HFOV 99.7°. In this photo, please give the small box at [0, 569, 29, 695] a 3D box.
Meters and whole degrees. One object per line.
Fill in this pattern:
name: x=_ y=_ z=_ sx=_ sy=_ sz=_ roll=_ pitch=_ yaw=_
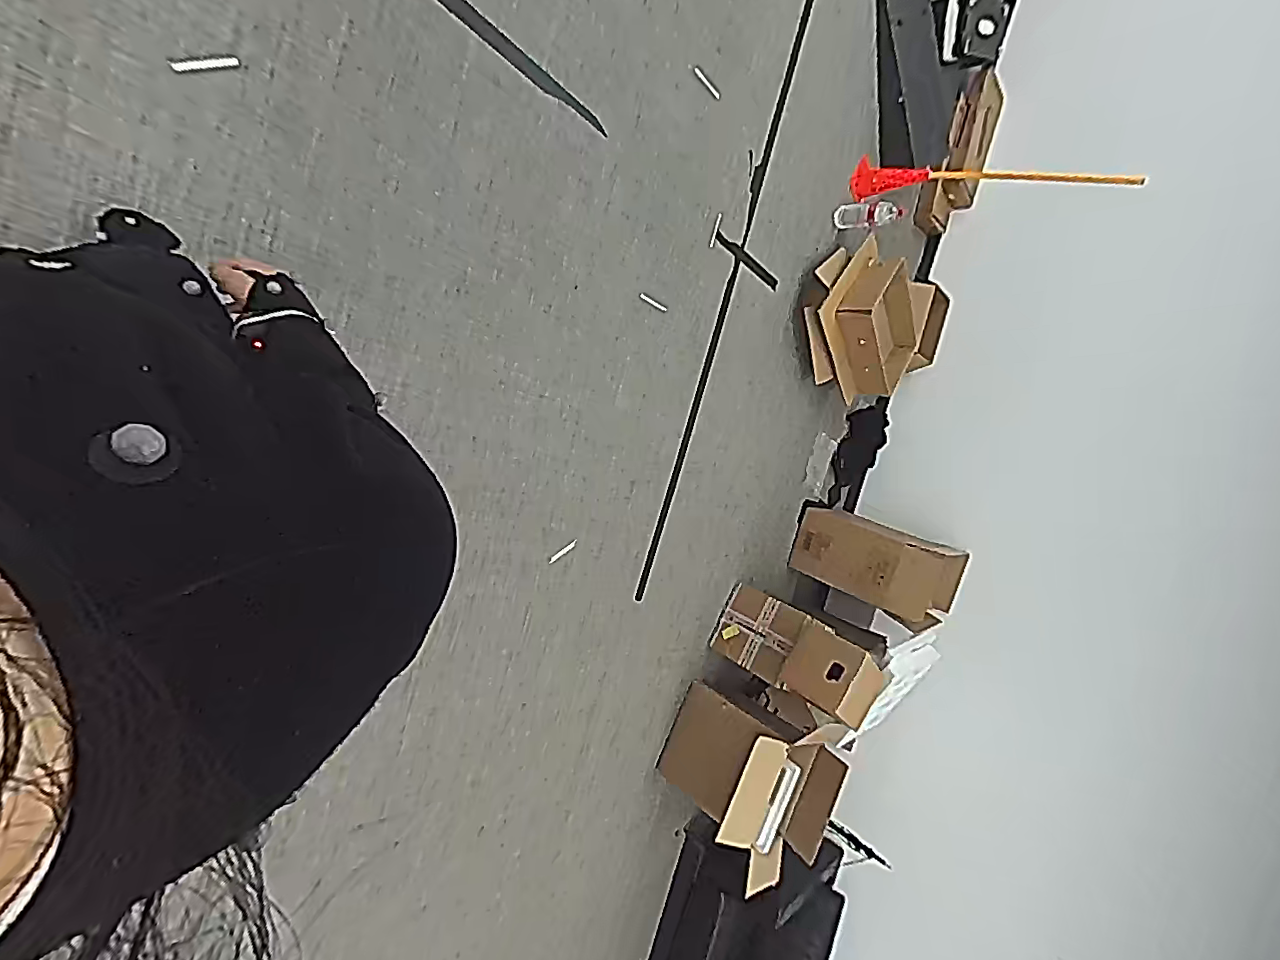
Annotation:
small box: x=-0.855 y=0.201 z=0.627 sx=0.168 sy=0.176 sz=0.179 roll=19 pitch=90 yaw=-48
